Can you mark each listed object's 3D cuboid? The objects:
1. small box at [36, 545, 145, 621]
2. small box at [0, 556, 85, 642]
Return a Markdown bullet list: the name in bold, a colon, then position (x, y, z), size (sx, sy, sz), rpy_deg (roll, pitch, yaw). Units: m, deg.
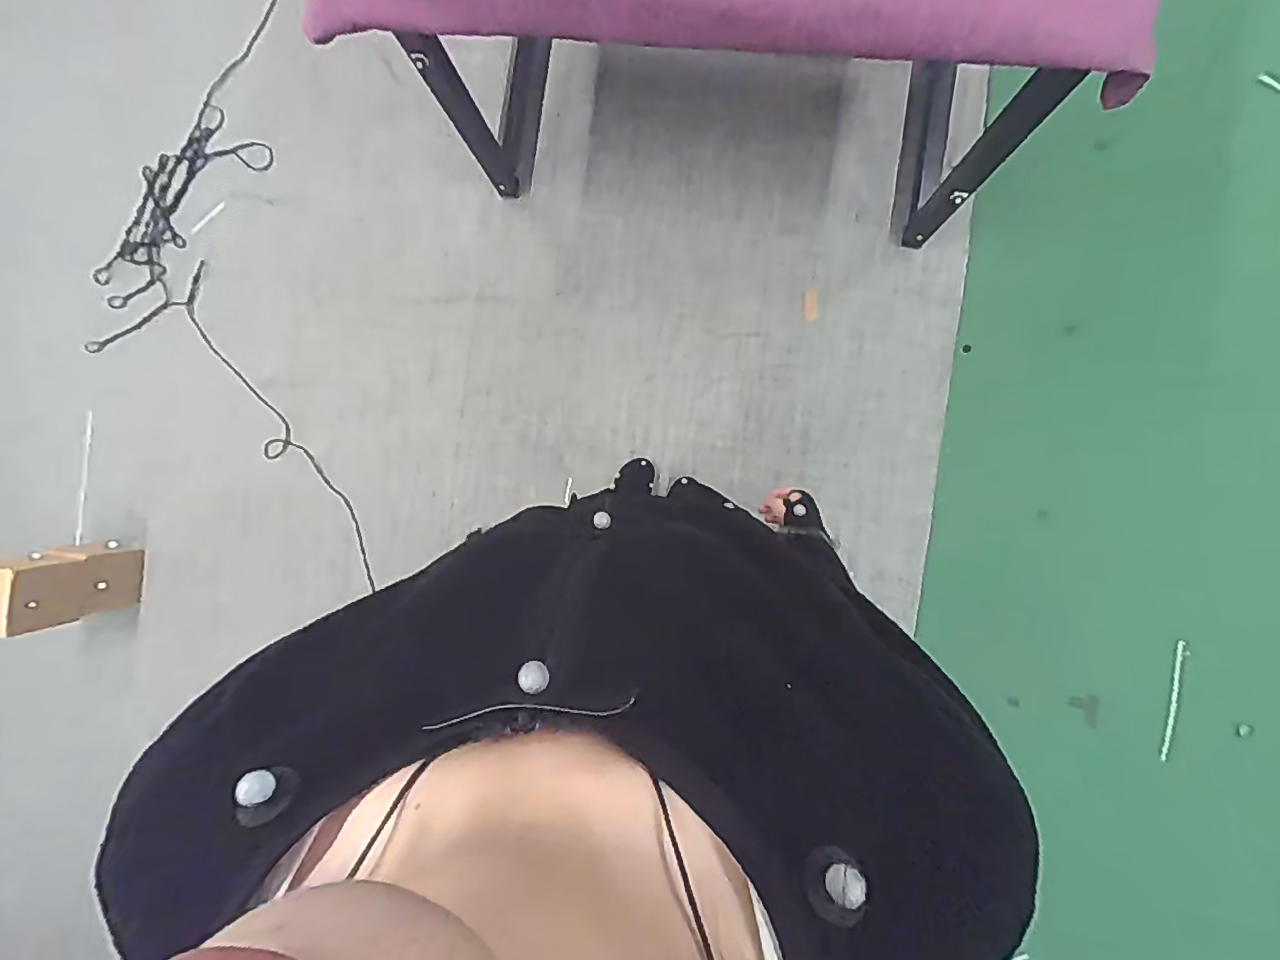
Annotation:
- **small box**: position (-1.611, 0.296, 1.586), size (0.168, 0.176, 0.179), rpy_deg (6, 90, 5)
- **small box**: position (-1.627, 0.305, 1.423), size (0.168, 0.176, 0.179), rpy_deg (7, 90, 4)
